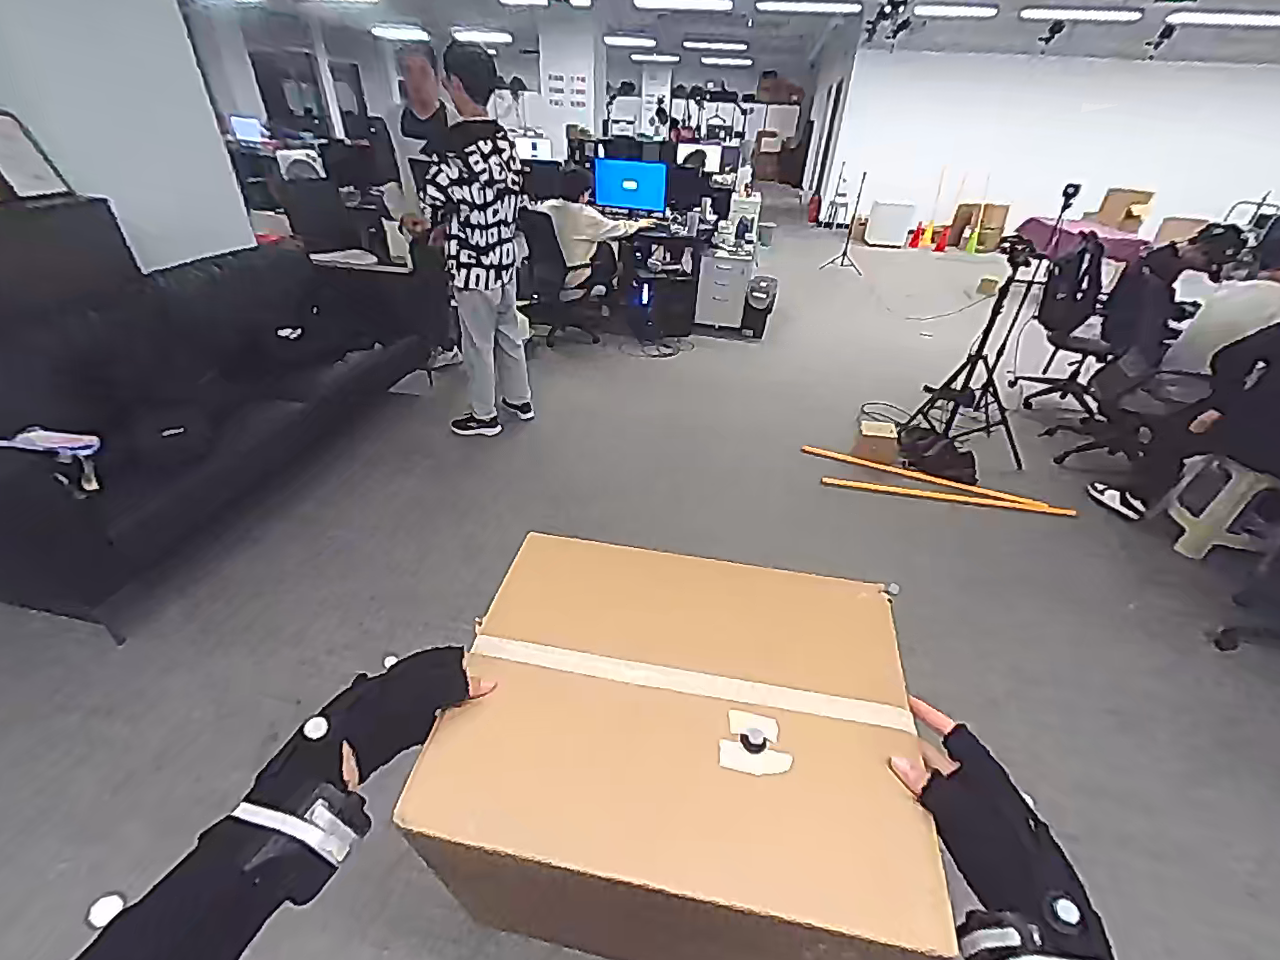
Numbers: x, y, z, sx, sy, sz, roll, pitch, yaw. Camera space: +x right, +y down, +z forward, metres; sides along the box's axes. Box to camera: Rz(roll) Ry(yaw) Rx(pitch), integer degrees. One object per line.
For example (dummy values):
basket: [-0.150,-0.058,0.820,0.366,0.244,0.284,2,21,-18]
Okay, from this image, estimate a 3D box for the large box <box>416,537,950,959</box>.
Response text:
large box: [0.040,0.301,0.600,0.408,0.320,0.320,8,41,7]
